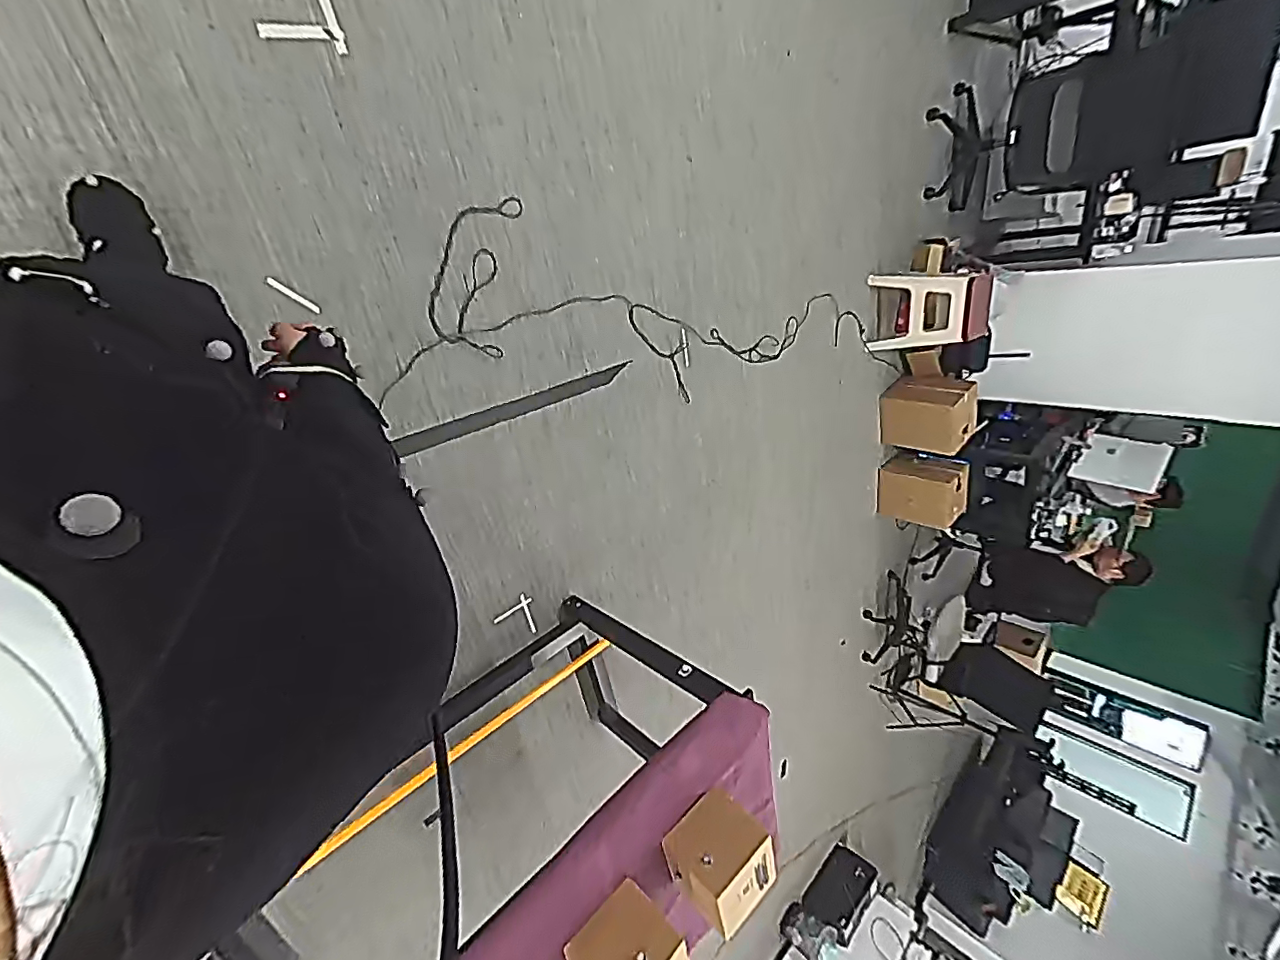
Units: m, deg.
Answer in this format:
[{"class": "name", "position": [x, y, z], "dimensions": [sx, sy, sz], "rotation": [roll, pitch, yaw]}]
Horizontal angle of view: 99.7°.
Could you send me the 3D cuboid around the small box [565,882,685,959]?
[{"class": "small box", "position": [-0.028, 0.952, 1.052], "dimensions": [0.179, 0.176, 0.168], "rotation": [-29, 120, -35]}]
